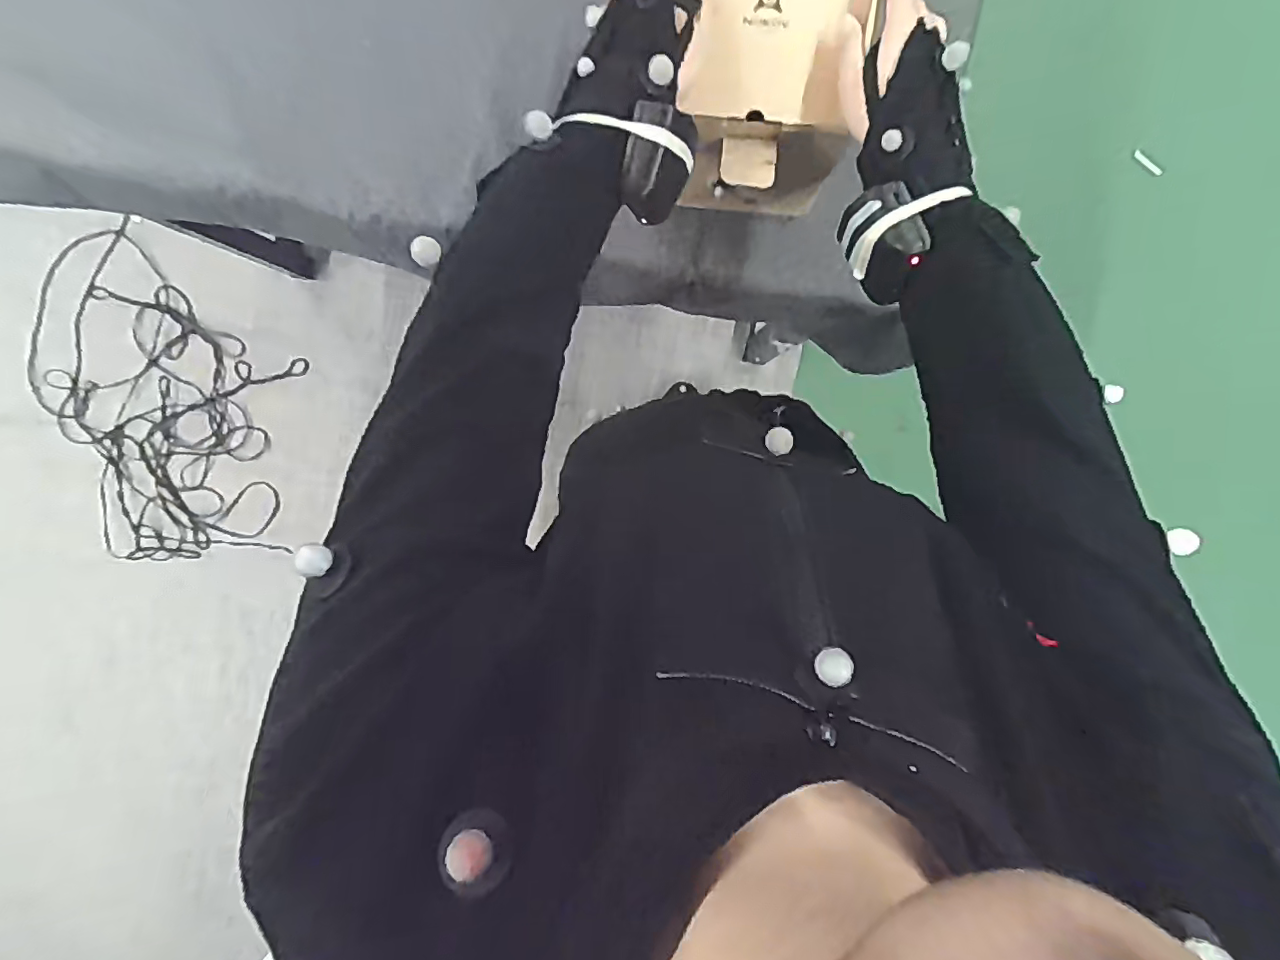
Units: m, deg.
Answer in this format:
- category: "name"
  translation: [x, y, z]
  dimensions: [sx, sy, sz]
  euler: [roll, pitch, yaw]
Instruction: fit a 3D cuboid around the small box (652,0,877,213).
- category: "small box"
  translation: [0.100, -0.373, 0.493]
  dimensions: [0.168, 0.176, 0.179]
  euler: [6, 96, 1]
